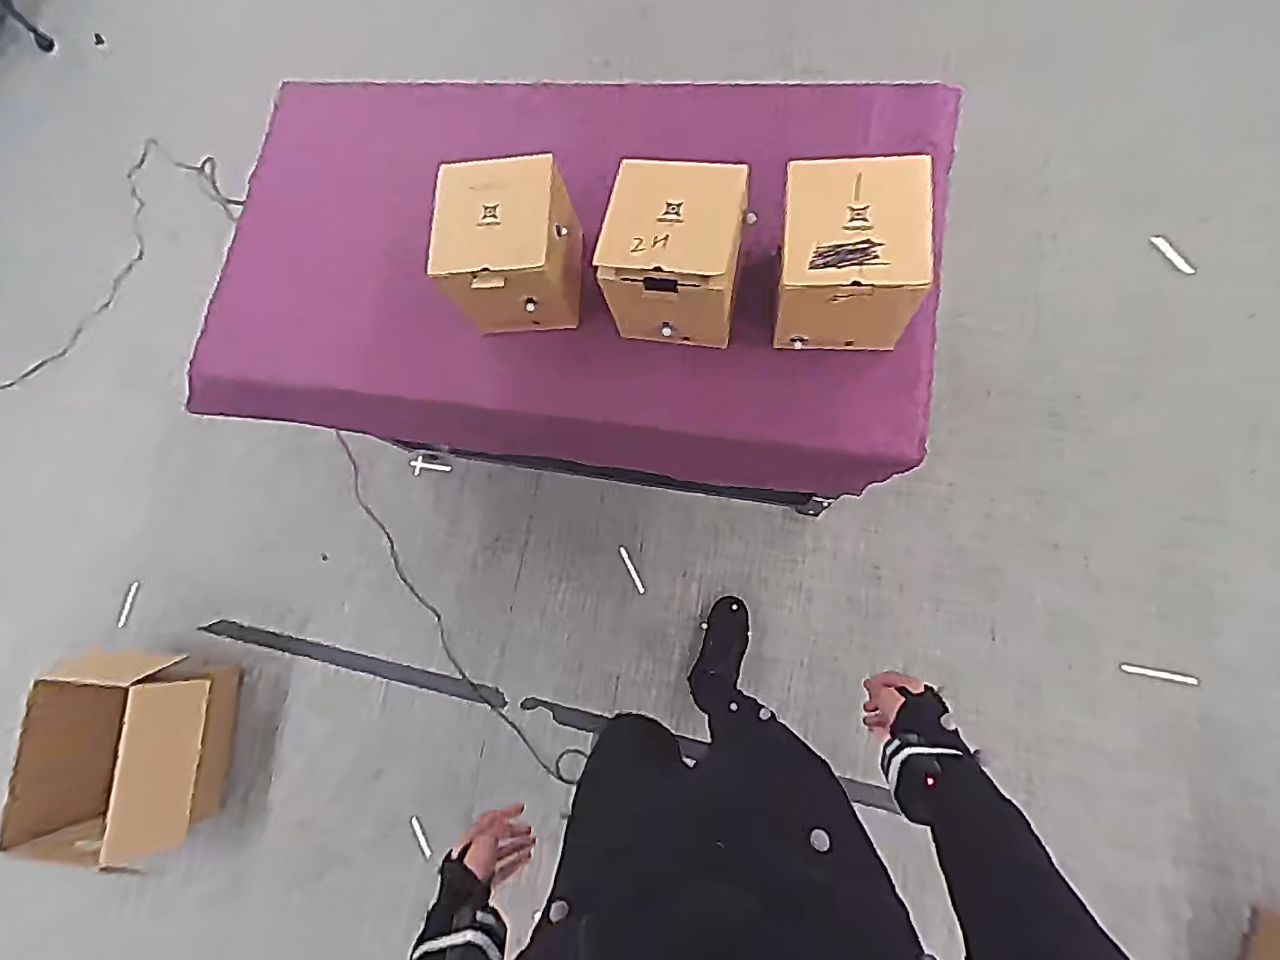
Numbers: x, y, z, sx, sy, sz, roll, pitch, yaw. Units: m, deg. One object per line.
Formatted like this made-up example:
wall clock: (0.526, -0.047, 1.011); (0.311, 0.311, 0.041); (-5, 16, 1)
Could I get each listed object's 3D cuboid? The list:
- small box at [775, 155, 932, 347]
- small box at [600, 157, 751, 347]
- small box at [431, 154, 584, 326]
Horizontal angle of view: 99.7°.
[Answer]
small box: (0.271, -0.290, 0.716); (0.168, 0.176, 0.179); (4, 78, 10)
small box: (0.056, -0.310, 0.755); (0.168, 0.176, 0.179); (10, 80, 11)
small box: (-0.185, -0.341, 0.802); (0.168, 0.176, 0.179); (0, 78, 9)
